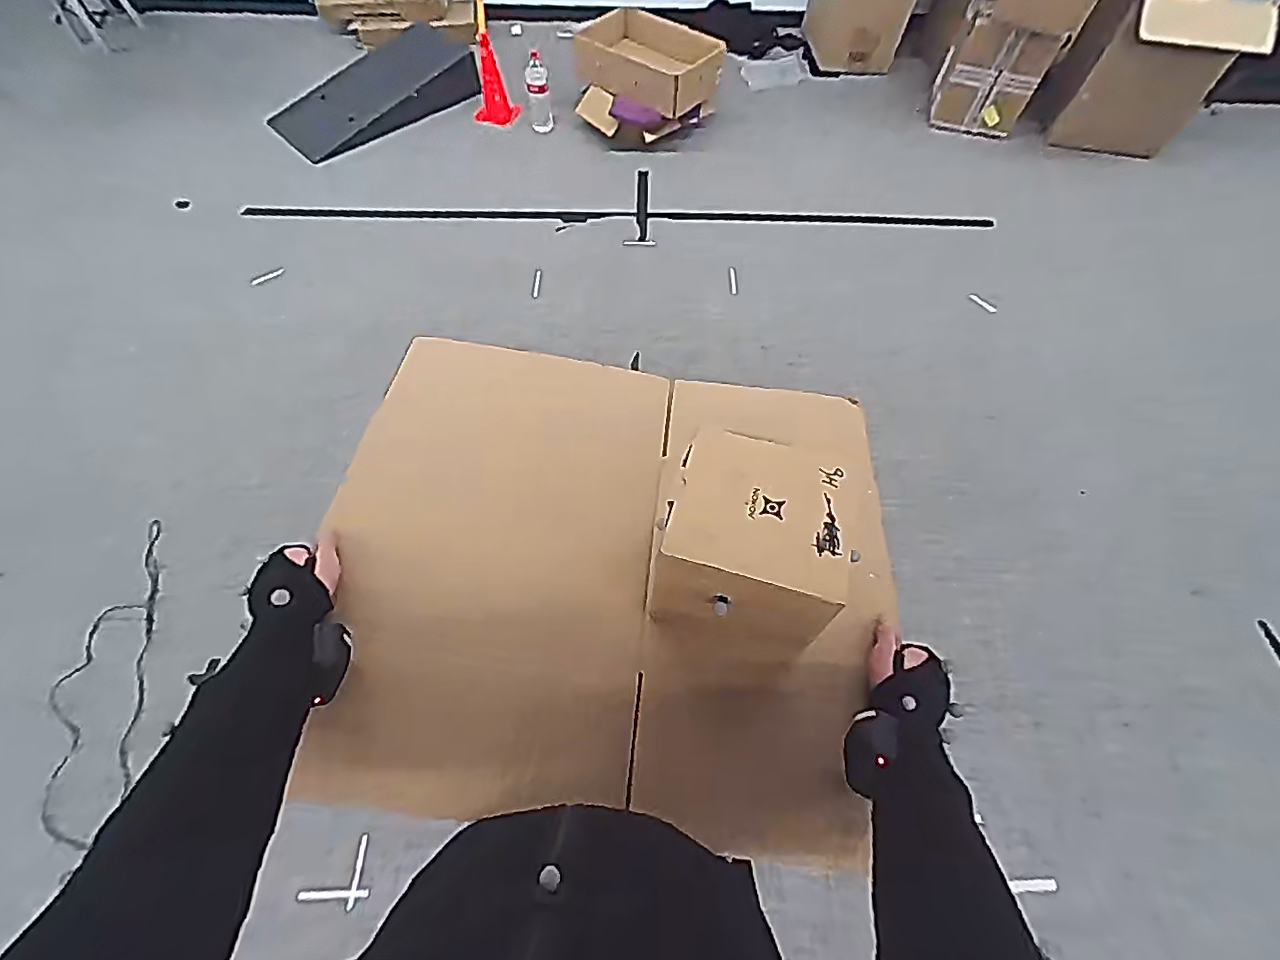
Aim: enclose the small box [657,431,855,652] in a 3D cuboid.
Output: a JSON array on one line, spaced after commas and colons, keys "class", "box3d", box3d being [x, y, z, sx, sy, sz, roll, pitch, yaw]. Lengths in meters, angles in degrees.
[{"class": "small box", "box3d": [0.122, 0.074, 0.607, 0.179, 0.176, 0.168, 14, 57, 9]}]
